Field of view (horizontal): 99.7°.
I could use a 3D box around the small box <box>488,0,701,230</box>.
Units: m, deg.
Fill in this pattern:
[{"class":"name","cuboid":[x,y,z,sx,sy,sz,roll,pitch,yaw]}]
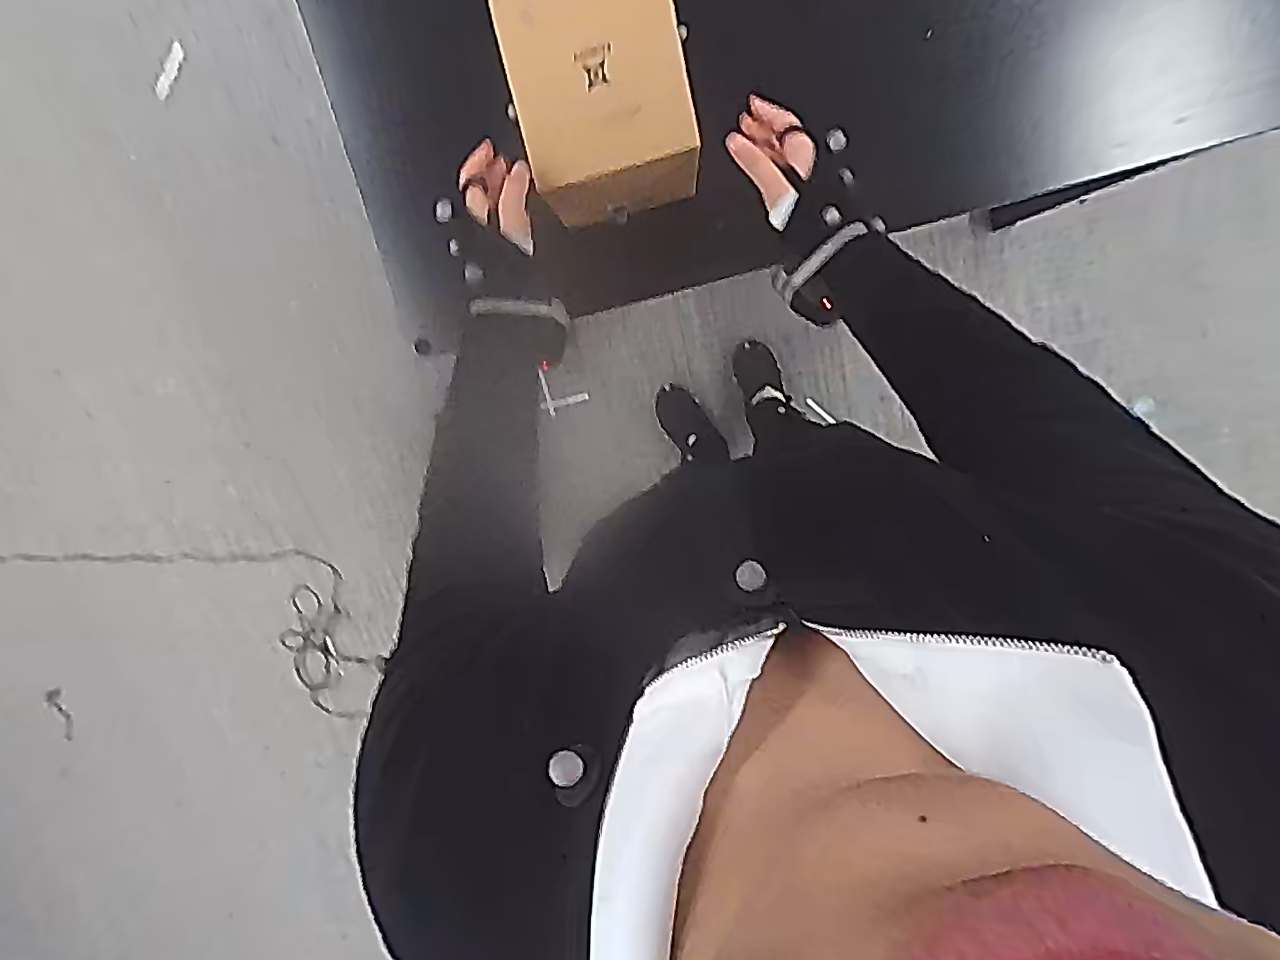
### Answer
[{"class":"small box","cuboid":[-0.036,-0.393,0.575,0.168,0.176,0.179,-13,102,7]}]
